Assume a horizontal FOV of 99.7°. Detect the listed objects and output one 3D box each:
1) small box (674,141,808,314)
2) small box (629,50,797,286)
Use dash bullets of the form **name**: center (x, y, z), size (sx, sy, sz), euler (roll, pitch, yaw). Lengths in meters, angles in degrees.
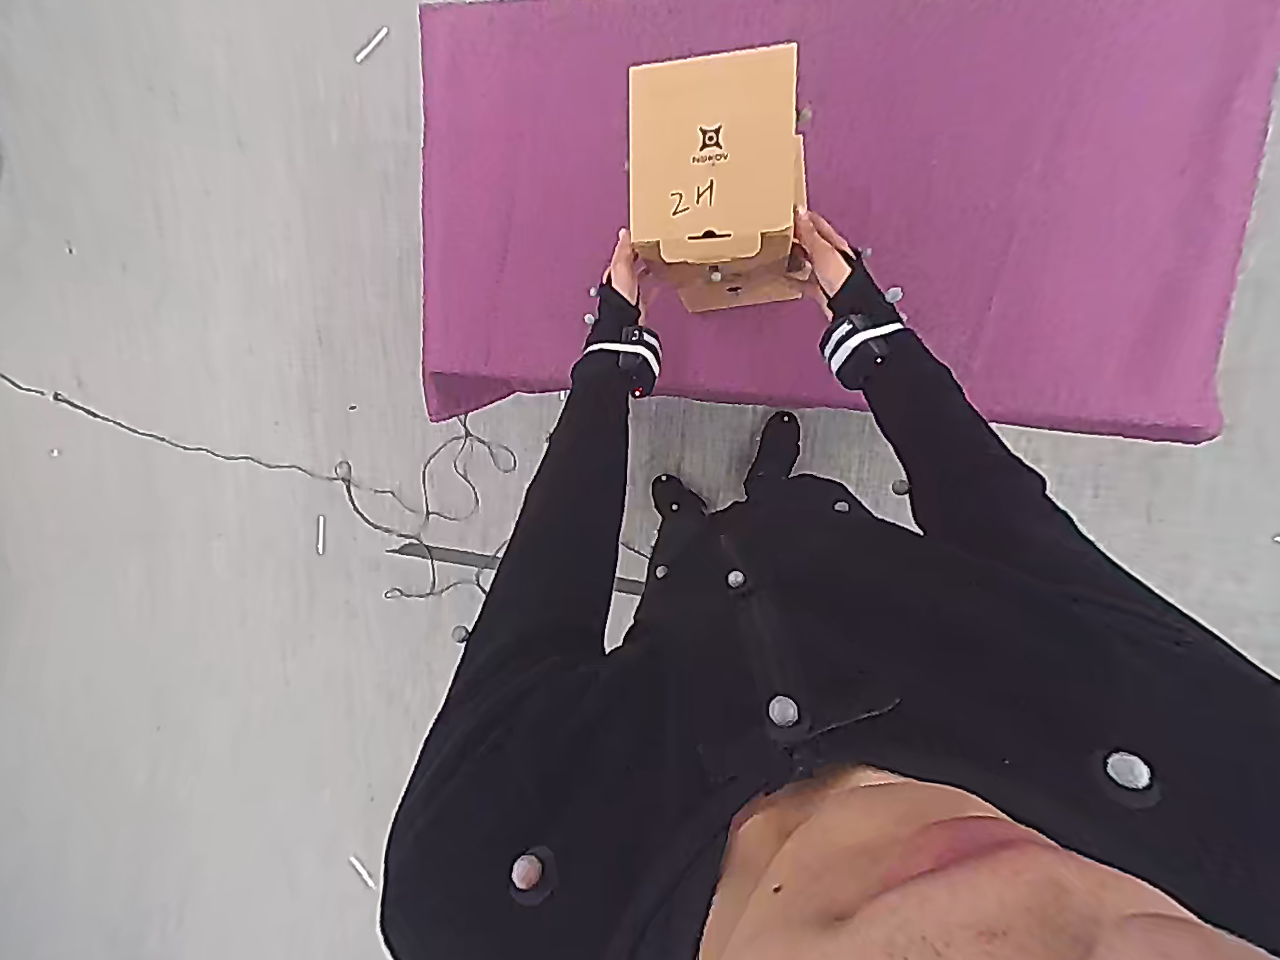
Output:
- **small box**: center (0.139, -0.344, 0.775), size (0.179, 0.176, 0.168), euler (-5, 96, 12)
- **small box**: center (0.085, -0.335, 0.618), size (0.168, 0.176, 0.179), euler (1, 96, 12)
